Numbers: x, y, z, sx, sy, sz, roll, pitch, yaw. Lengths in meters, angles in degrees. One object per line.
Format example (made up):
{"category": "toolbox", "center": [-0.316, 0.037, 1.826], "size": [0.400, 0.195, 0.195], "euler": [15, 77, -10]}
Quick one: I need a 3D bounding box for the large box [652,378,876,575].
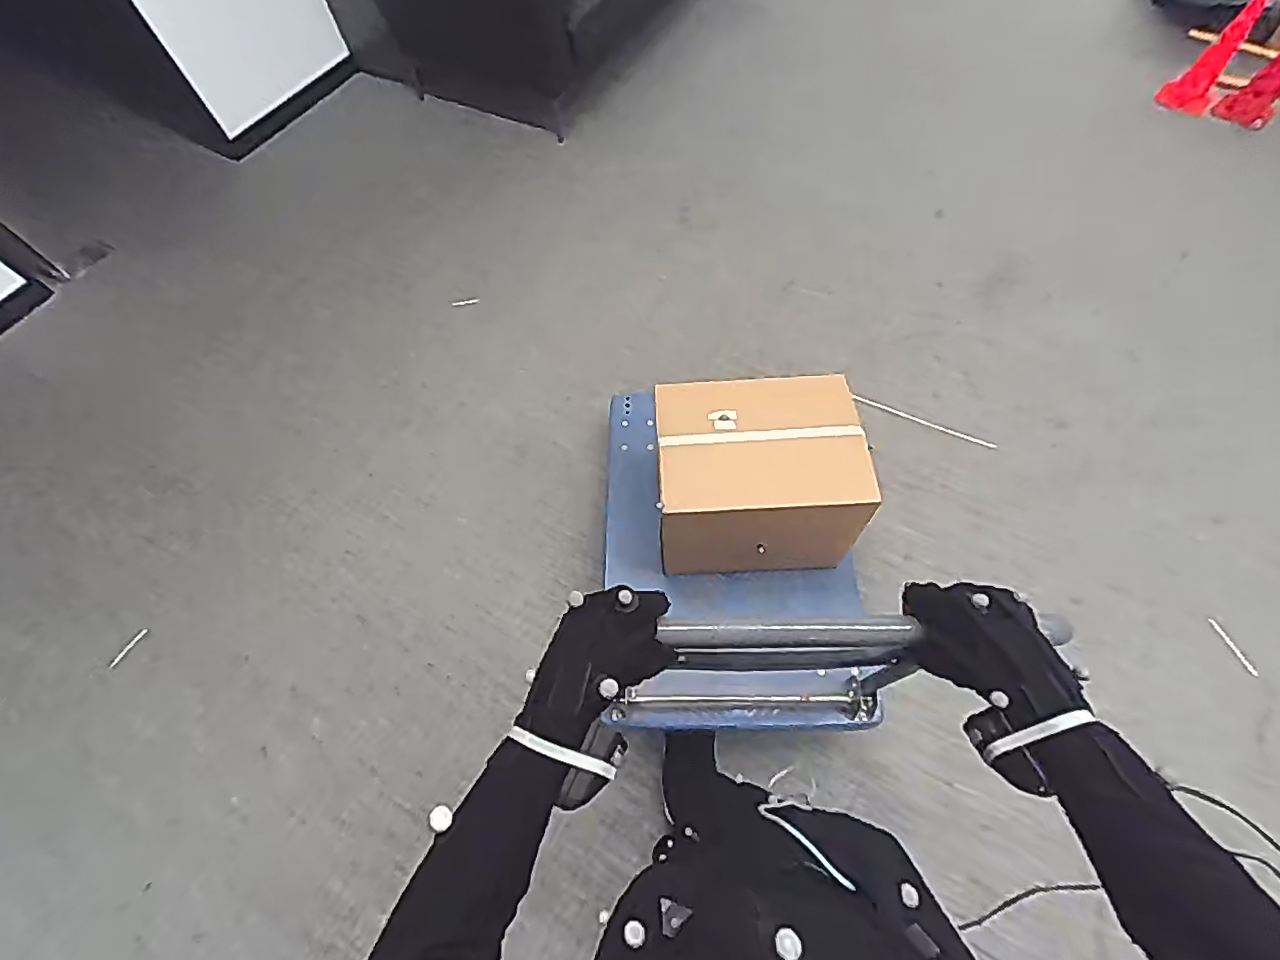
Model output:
{"category": "large box", "center": [0.246, 0.005, 1.211], "size": [0.408, 0.320, 0.320], "euler": [-5, 58, 2]}
